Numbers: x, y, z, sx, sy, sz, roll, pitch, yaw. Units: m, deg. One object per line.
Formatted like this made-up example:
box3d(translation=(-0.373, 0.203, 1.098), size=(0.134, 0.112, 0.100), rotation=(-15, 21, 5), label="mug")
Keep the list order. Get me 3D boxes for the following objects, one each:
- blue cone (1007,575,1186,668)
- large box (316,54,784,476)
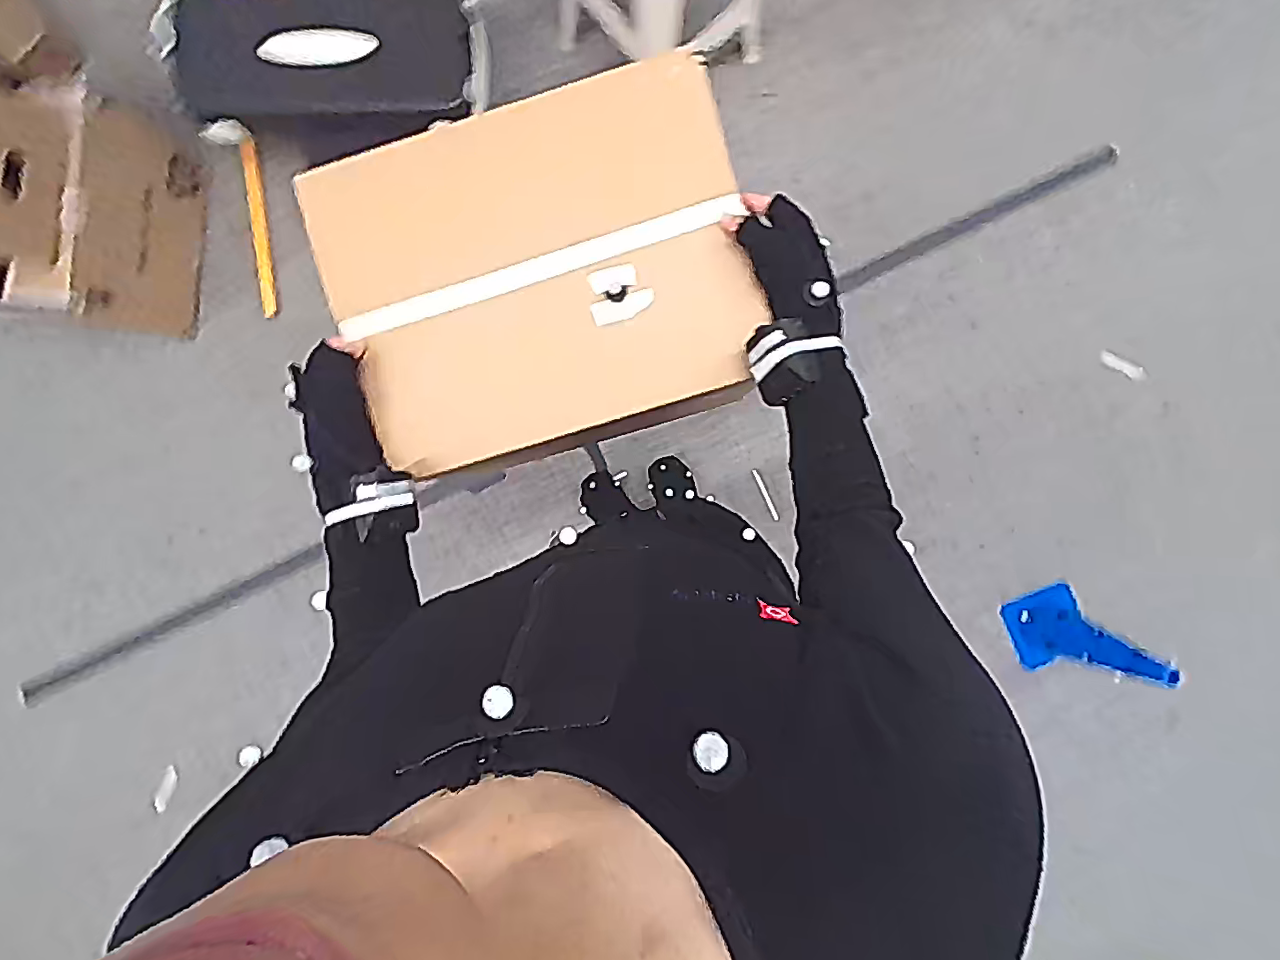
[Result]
box3d(translation=(1.115, 0.377, 1.315), size=(0.192, 0.380, 0.193), rotation=(-23, 92, 1), label="blue cone")
box3d(translation=(-0.087, -0.209, 0.675), size=(0.408, 0.320, 0.320), rotation=(-16, 92, 2), label="large box")
